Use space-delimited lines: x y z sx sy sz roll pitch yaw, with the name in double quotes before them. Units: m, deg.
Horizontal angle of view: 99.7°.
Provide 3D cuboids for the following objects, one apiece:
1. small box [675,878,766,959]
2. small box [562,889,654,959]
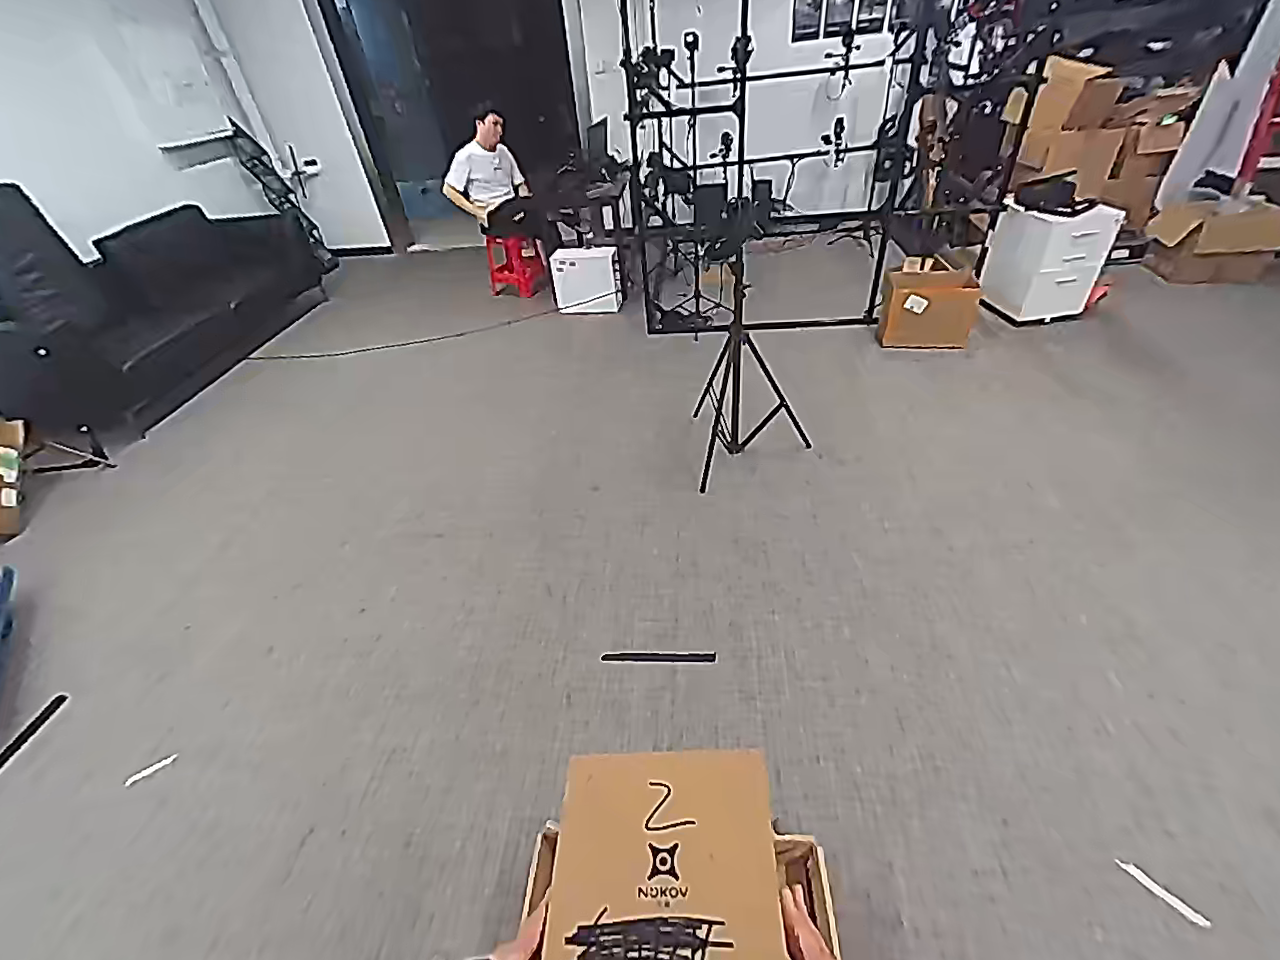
"small box" 0.159 0.926 1.066 0.168 0.176 0.179 1 40 11
"small box" -0.058 0.942 1.072 0.168 0.176 0.179 -1 39 4
